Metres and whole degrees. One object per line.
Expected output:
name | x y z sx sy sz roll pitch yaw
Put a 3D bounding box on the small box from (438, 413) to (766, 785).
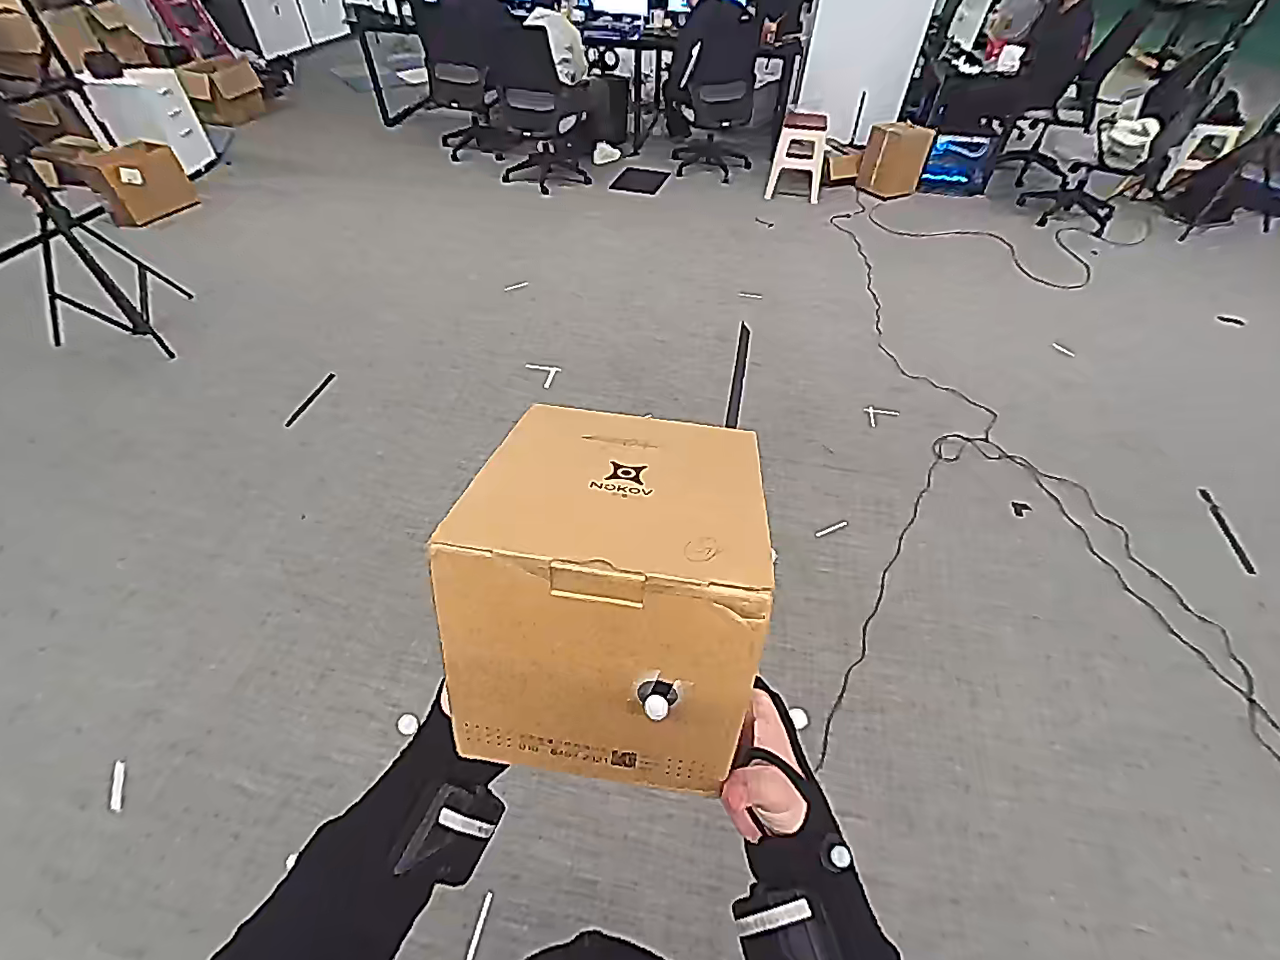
small box | -0.015 0.073 0.372 0.168 0.176 0.179 9 30 3
